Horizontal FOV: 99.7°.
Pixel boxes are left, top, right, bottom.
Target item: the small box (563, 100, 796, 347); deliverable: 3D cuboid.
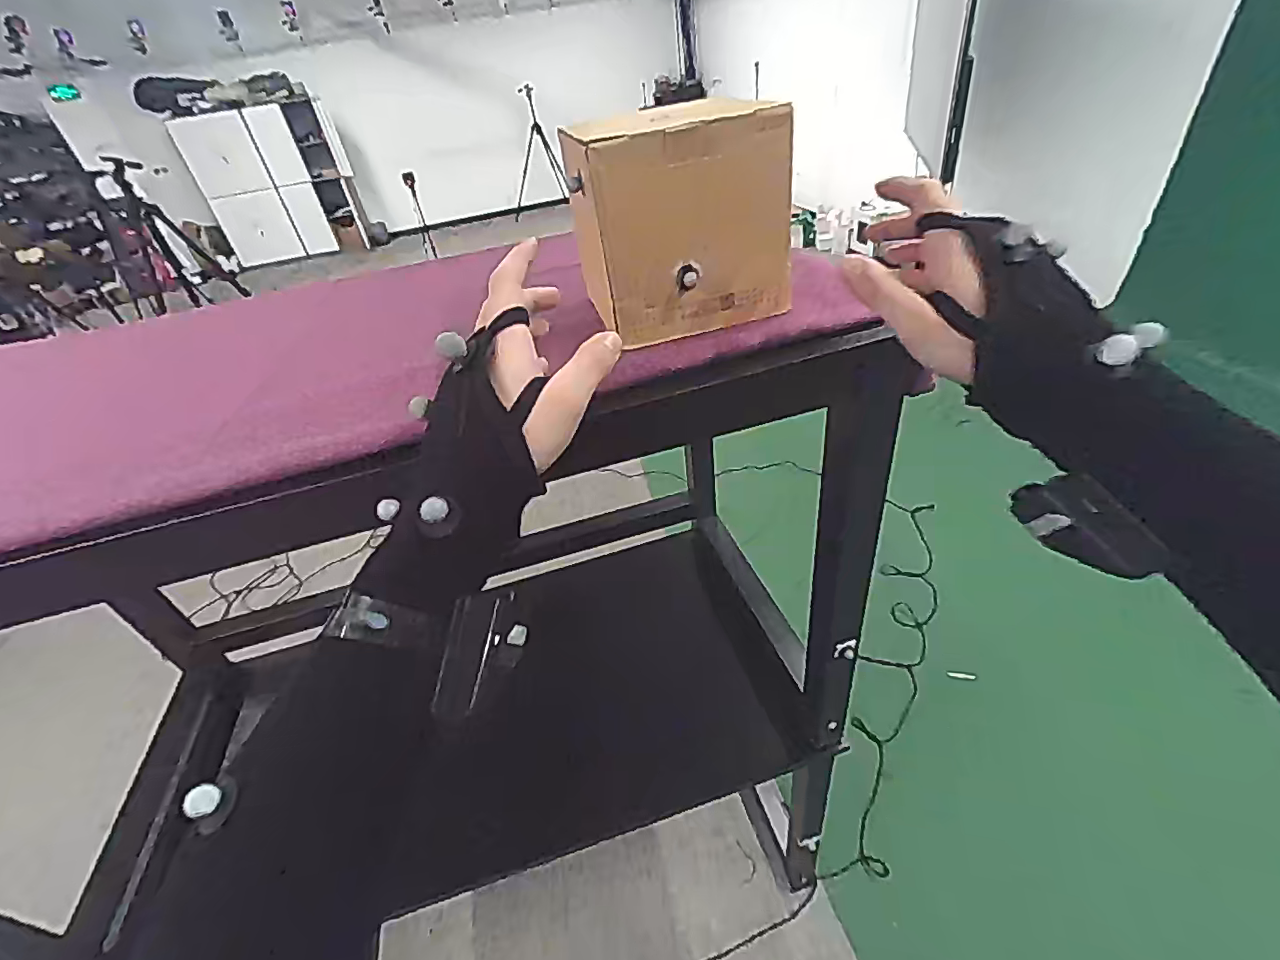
[{"bbox_3d":[0.032,-0.247,0.517,0.168,0.176,0.179,-15,38,-6],"label":"small box"}]
